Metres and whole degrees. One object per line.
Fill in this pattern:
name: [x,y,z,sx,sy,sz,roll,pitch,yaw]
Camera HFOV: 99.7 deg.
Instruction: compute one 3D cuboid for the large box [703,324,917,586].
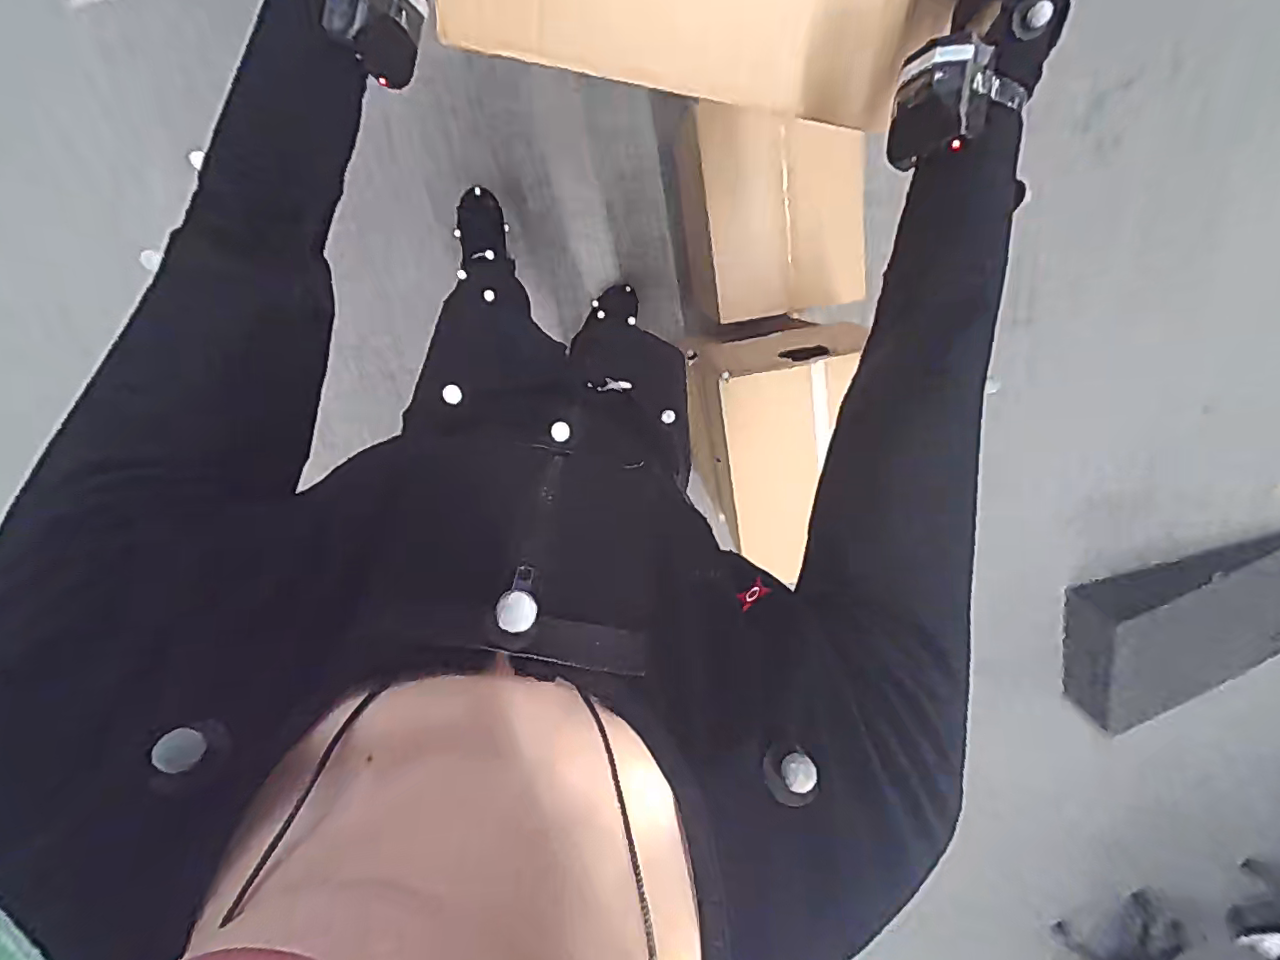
large box: [0.310,-0.061,1.050,0.320,0.320,0.408,-10,111,4]
